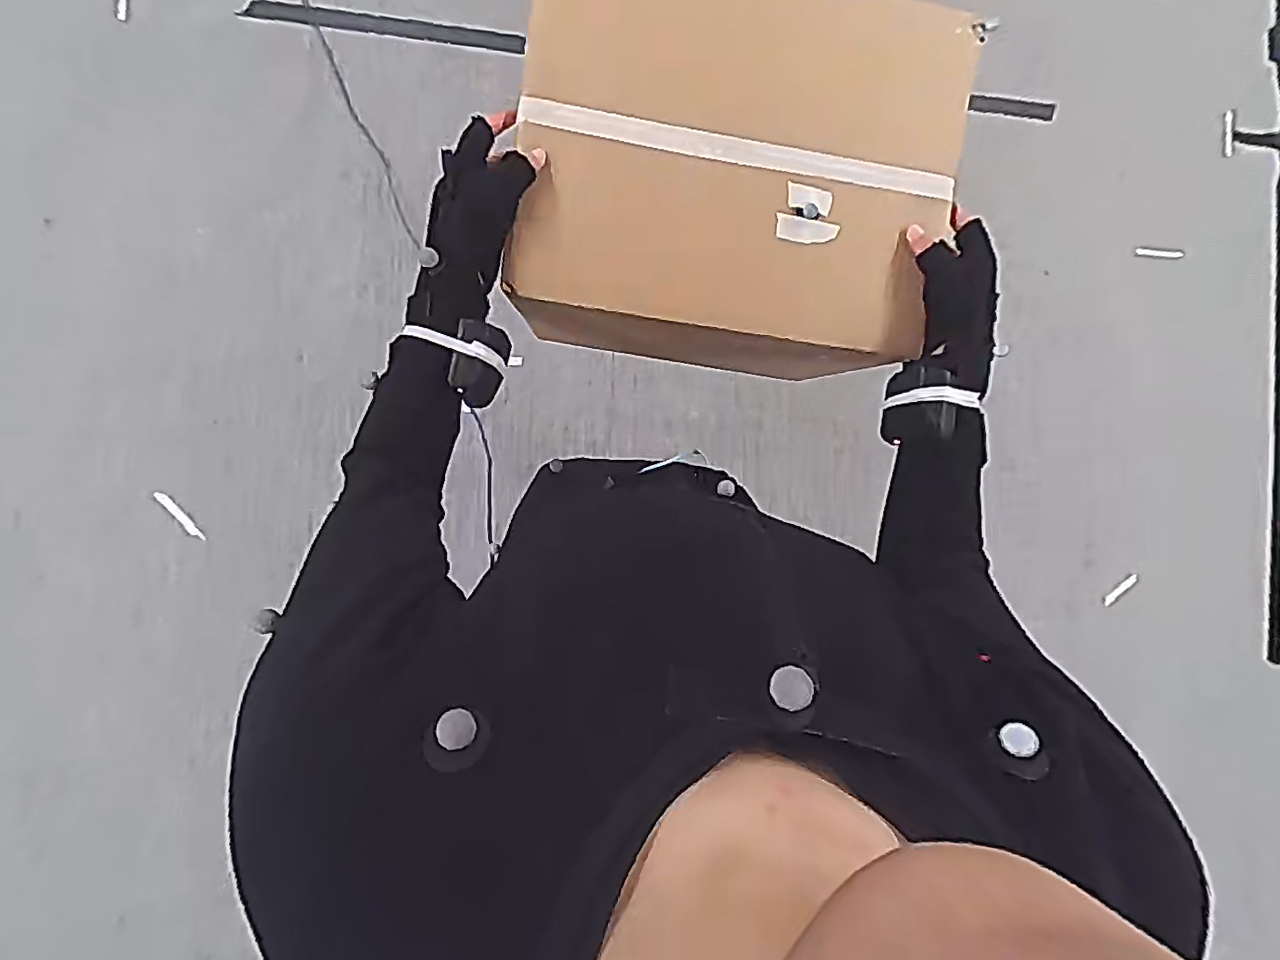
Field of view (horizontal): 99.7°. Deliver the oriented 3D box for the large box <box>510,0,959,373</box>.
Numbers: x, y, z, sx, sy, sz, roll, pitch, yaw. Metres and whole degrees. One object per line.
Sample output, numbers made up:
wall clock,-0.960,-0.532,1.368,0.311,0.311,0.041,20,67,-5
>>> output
large box,0.075,-0.319,0.653,0.408,0.320,0.320,7,97,-6
